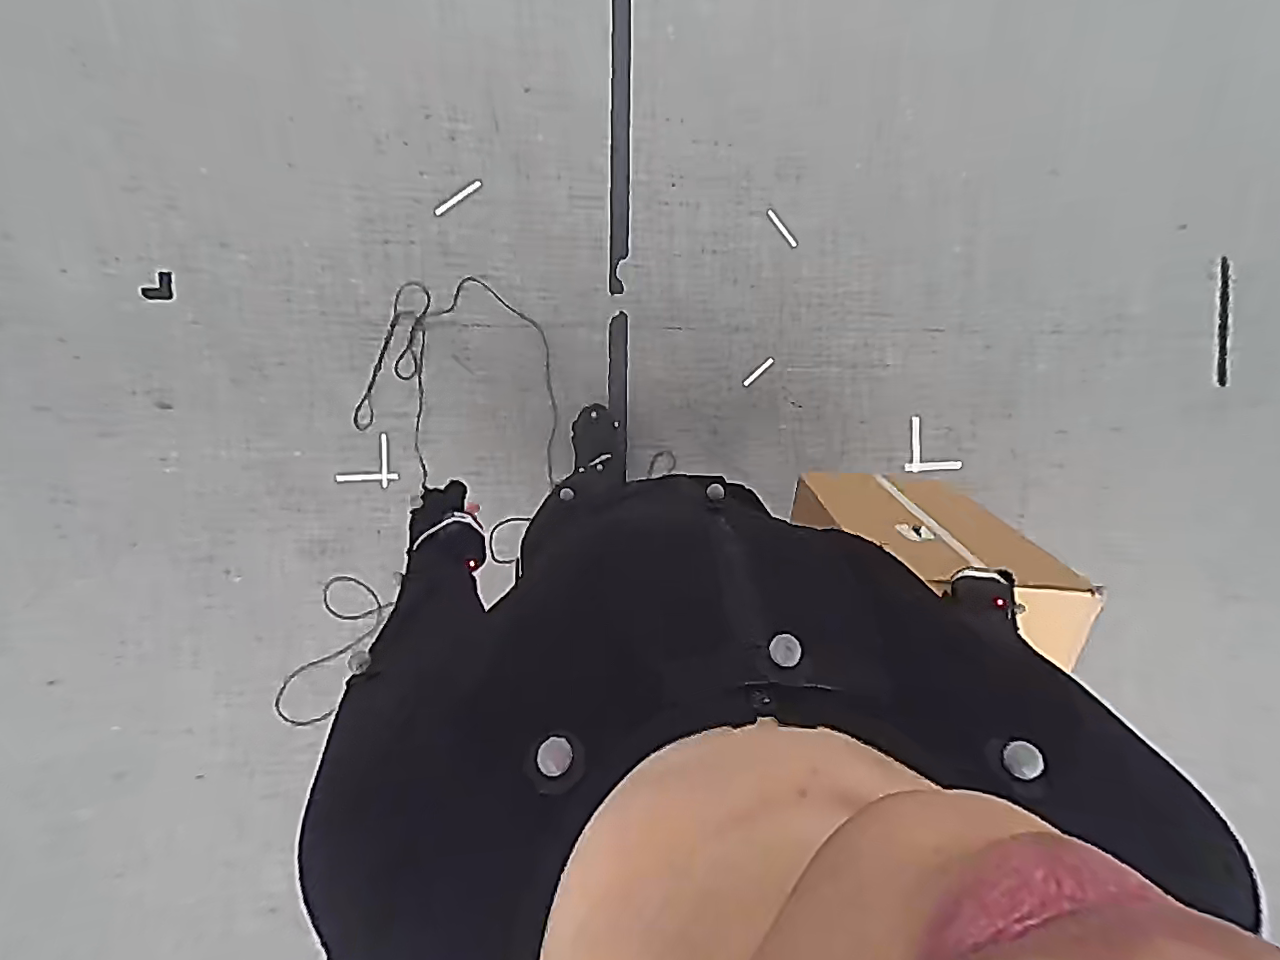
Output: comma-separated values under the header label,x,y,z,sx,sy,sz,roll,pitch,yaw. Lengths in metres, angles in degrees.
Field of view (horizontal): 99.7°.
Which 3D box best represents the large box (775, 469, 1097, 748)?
label,x,y,z,sx,sy,sz,roll,pitch,yaw
large box,0.466,0.203,0.980,0.320,0.408,0.320,3,113,-2
